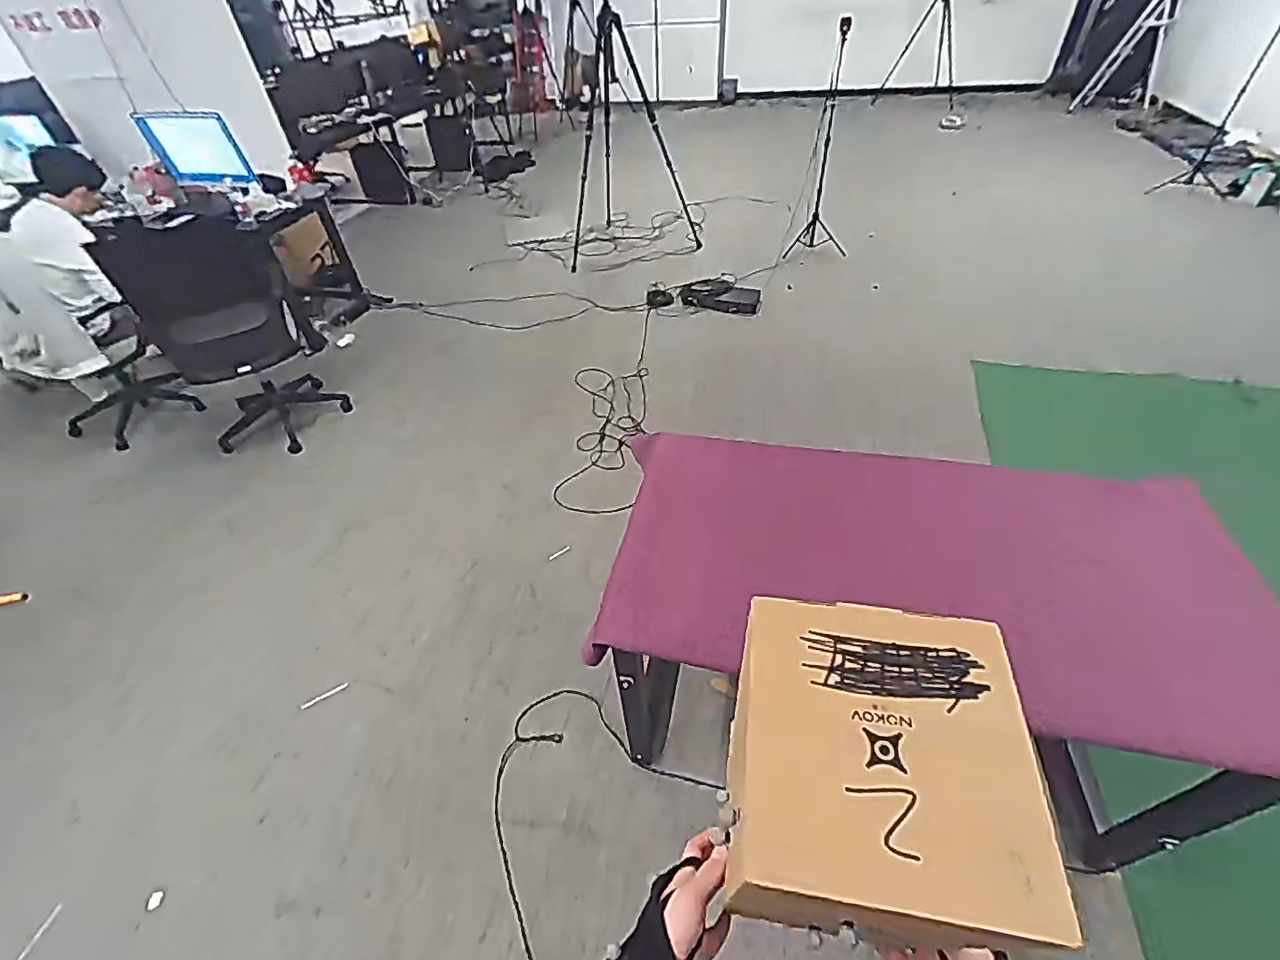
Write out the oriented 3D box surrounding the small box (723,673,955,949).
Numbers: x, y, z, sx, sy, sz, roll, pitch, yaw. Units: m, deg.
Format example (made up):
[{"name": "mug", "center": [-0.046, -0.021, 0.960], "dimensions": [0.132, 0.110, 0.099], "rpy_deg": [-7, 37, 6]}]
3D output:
[{"name": "small box", "center": [0.168, 0.308, 0.508], "dimensions": [0.168, 0.176, 0.179], "rpy_deg": [5, 50, 10]}]
